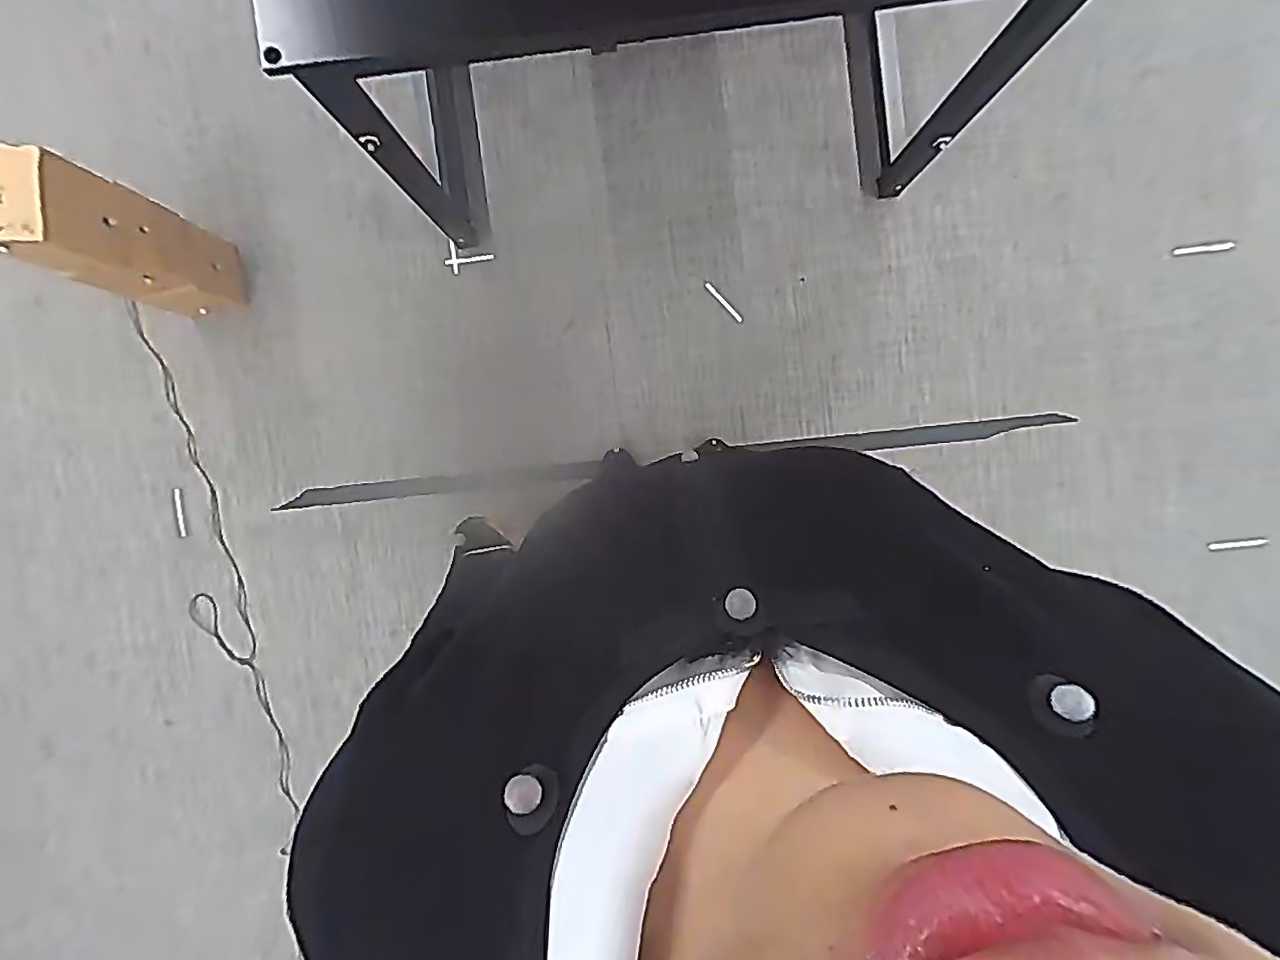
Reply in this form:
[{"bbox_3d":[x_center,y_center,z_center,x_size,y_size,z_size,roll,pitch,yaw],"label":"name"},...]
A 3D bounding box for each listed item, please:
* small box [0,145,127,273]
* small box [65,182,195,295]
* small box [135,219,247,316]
[{"bbox_3d":[-1.177,-0.531,1.076,0.168,0.176,0.179,1,92,1],"label":"small box"},{"bbox_3d":[-1.176,-0.540,1.240,0.168,0.176,0.179,-13,92,1],"label":"small box"},{"bbox_3d":[-1.171,-0.544,1.402,0.168,0.176,0.179,-10,94,2],"label":"small box"}]
